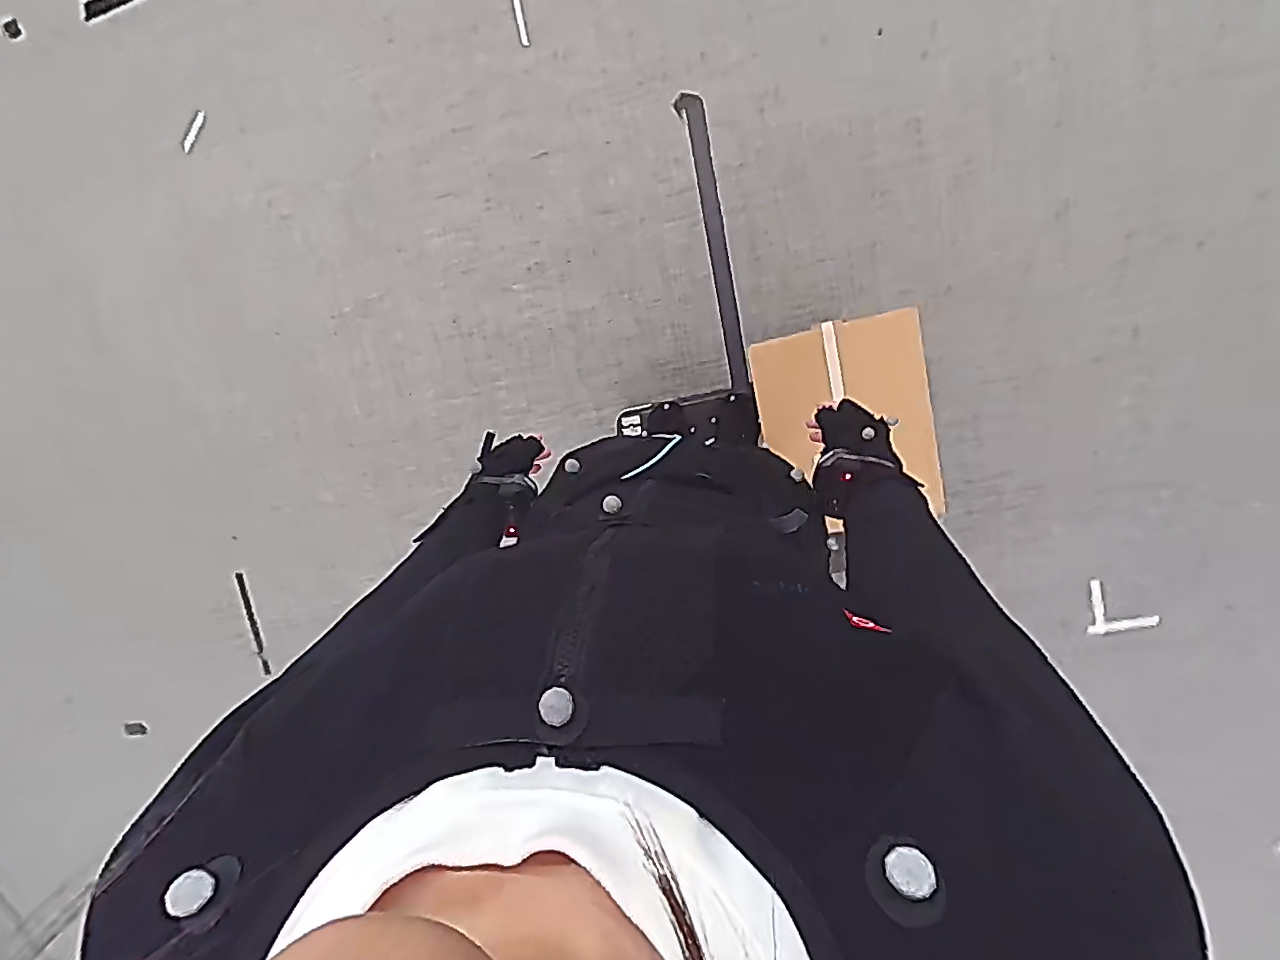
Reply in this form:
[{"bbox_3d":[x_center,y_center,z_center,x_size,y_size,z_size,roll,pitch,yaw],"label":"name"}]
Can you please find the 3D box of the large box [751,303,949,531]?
[{"bbox_3d":[0.446,-0.142,1.198,0.320,0.320,0.408,-10,100,18],"label":"large box"}]
